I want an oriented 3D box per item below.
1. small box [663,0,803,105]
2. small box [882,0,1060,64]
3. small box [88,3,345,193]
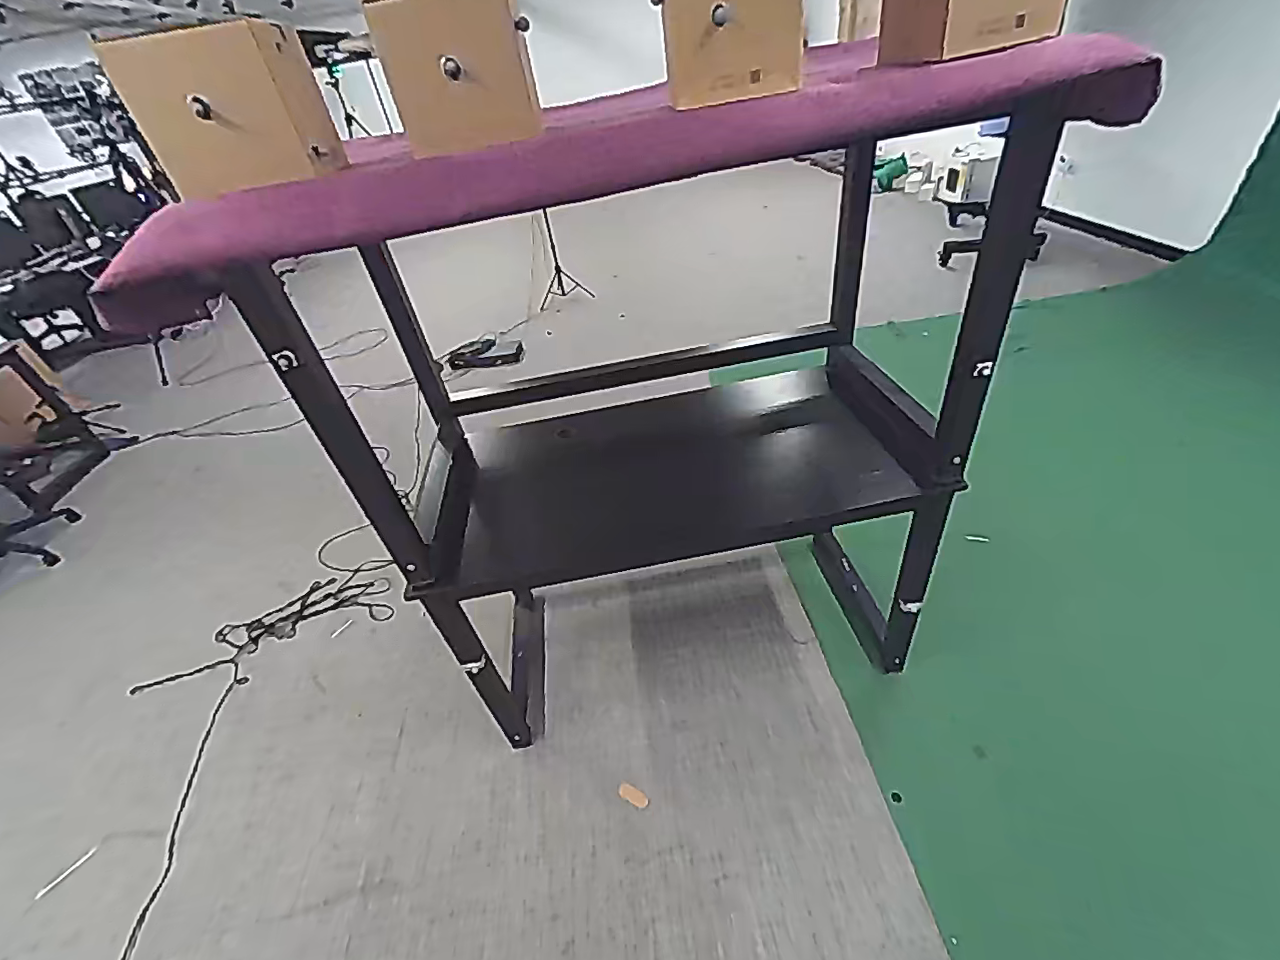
[{"bbox_3d":[0.122,-0.623,0.733,0.168,0.176,0.179,-7,37,4],"label":"small box"},{"bbox_3d":[0.457,-0.692,0.742,0.168,0.176,0.179,-12,36,-2],"label":"small box"},{"bbox_3d":[-0.521,-0.492,0.703,0.179,0.176,0.168,-13,38,-3],"label":"small box"}]
